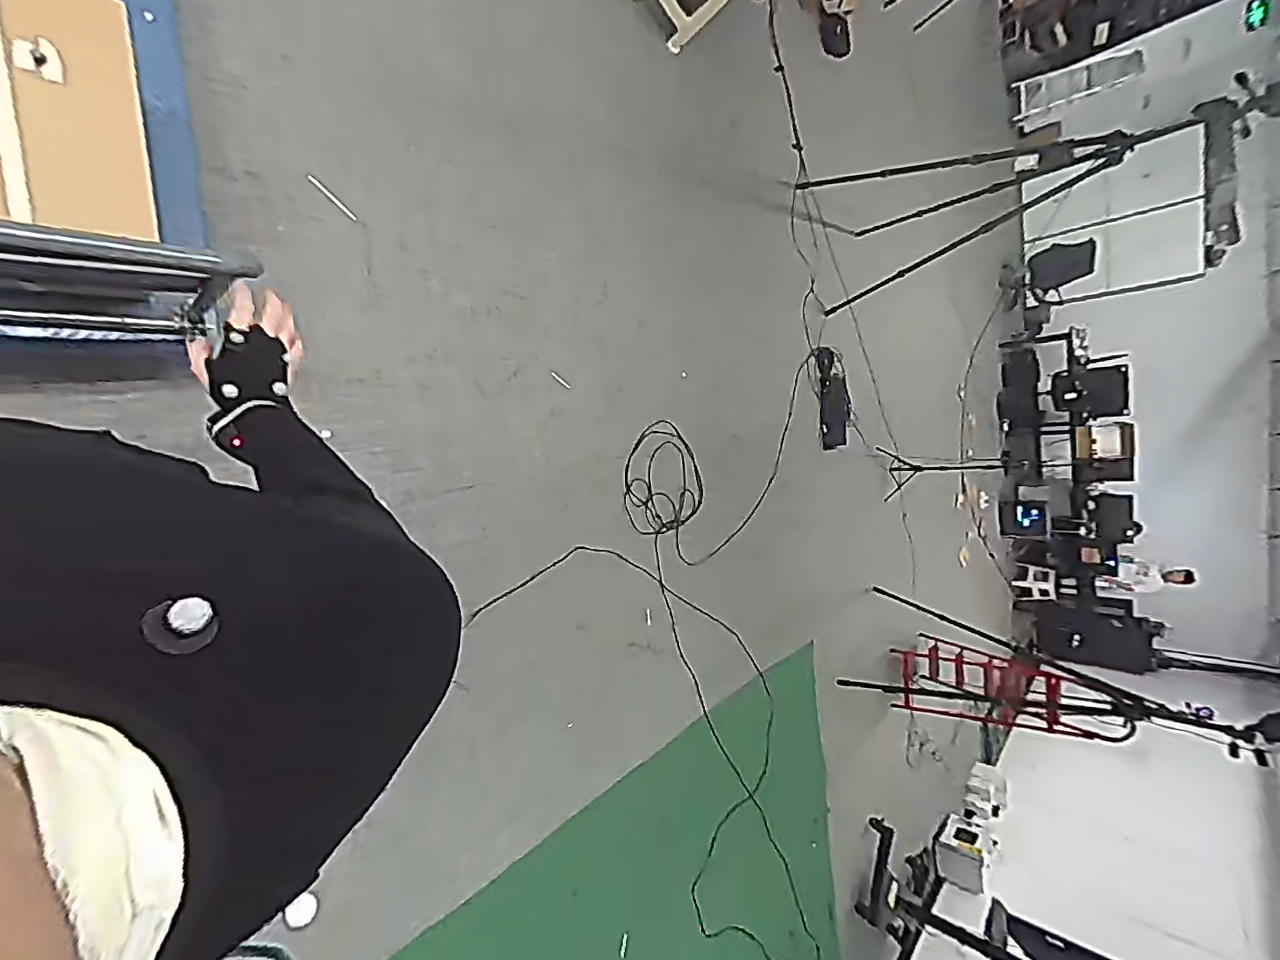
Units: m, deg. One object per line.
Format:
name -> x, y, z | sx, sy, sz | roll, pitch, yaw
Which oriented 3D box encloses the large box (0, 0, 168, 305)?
large box -> -1.022, -0.536, 0.890 | 0.320, 0.320, 0.408 | -10, 95, -45
